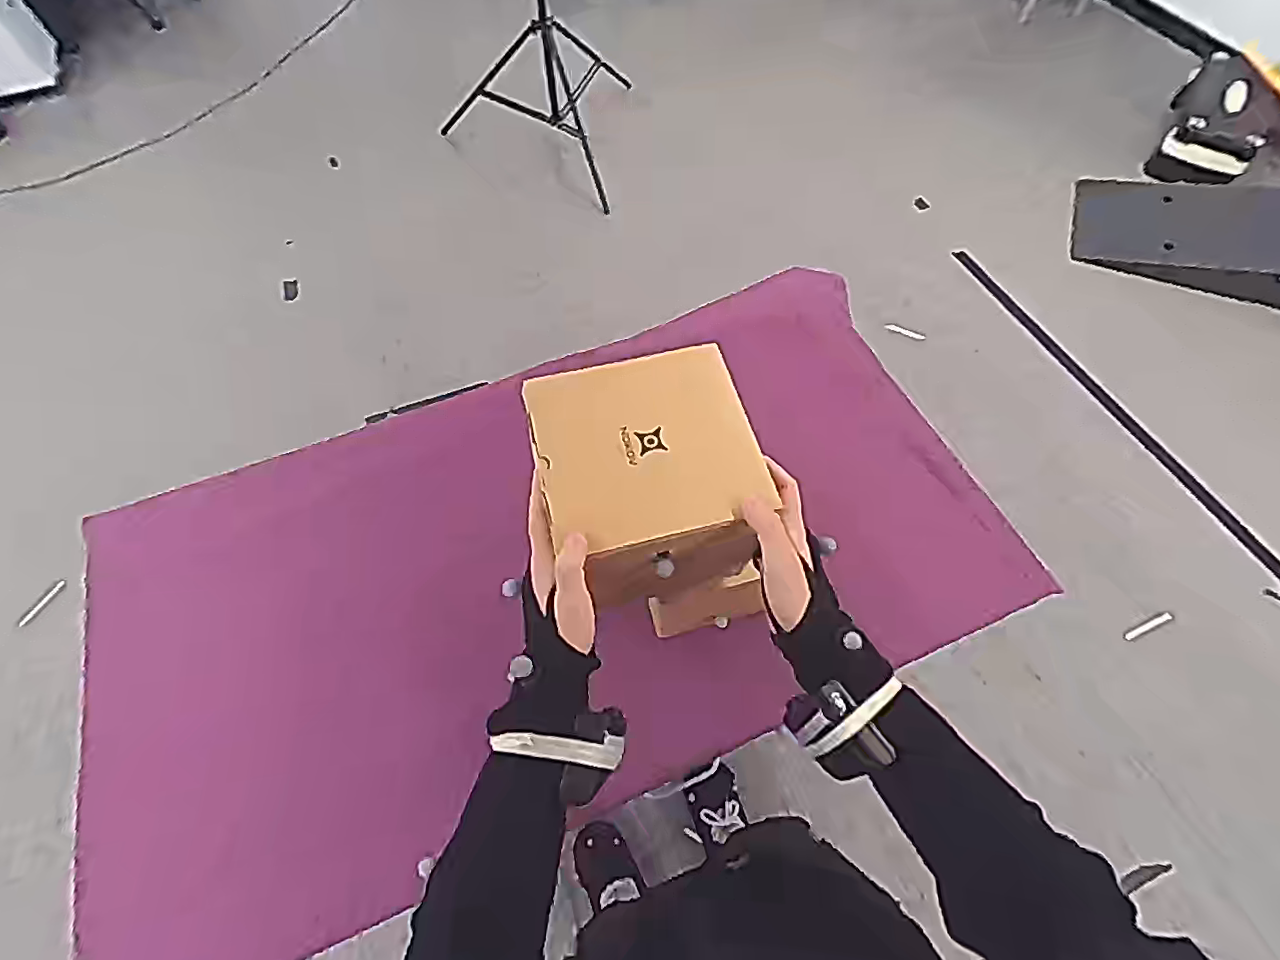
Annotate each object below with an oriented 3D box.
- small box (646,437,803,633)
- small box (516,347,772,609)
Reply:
[{"bbox_3d":[0.078,0.074,0.680,0.168,0.176,0.179,-13,64,-6],"label":"small box"},{"bbox_3d":[-0.003,0.007,0.502,0.179,0.176,0.168,-13,65,-6],"label":"small box"}]
